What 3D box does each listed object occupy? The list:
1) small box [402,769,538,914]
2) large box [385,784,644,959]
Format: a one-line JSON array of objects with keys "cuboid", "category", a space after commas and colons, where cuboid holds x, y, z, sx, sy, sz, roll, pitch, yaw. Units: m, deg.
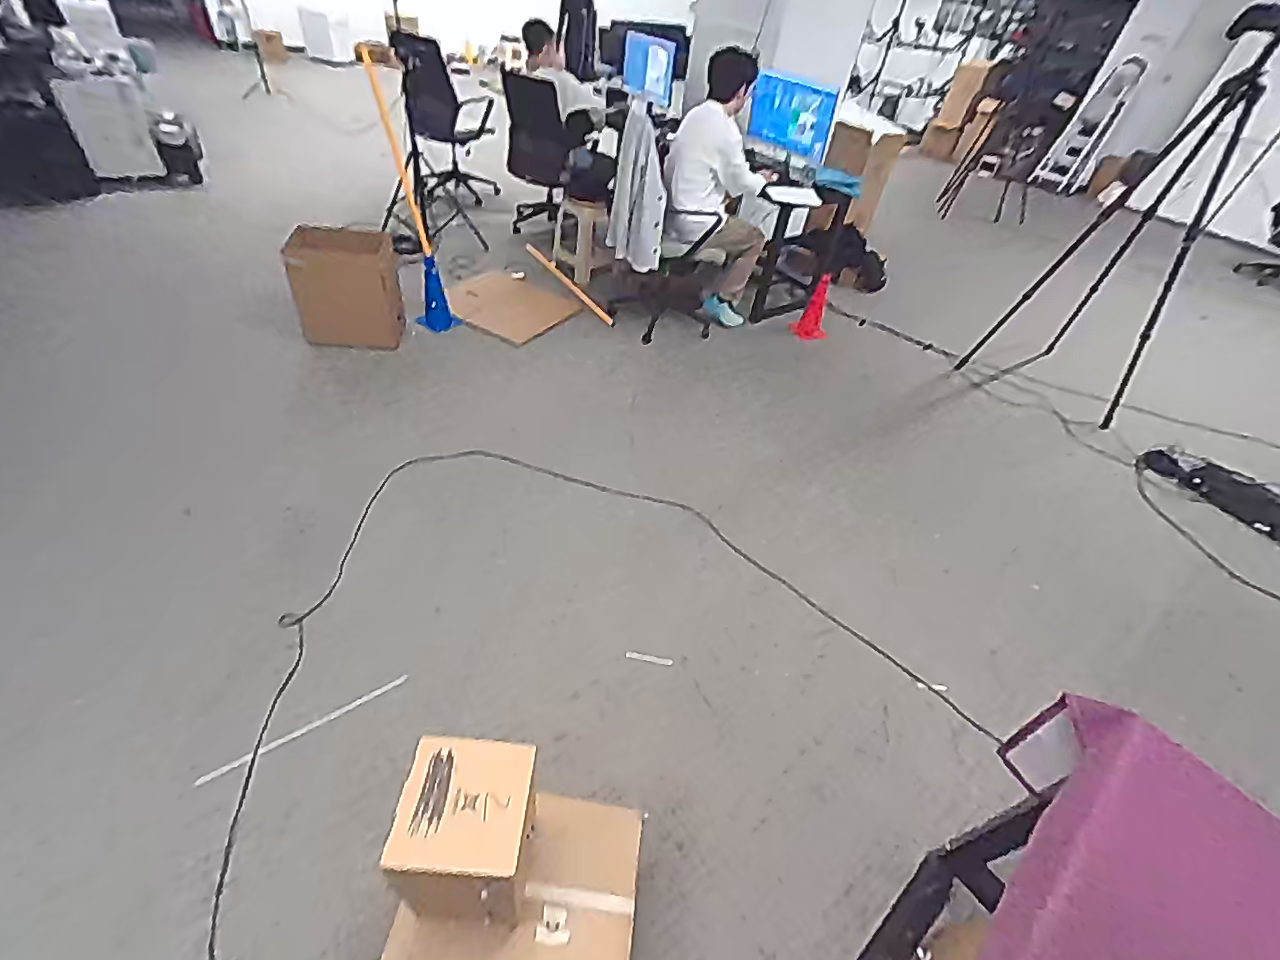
[{"cuboid": [-0.275, 0.617, 0.920, 0.179, 0.176, 0.168, 7, 42, -2], "category": "small box"}, {"cuboid": [-0.225, 0.822, 1.072, 0.408, 0.320, 0.320, 10, 44, 0], "category": "large box"}]
